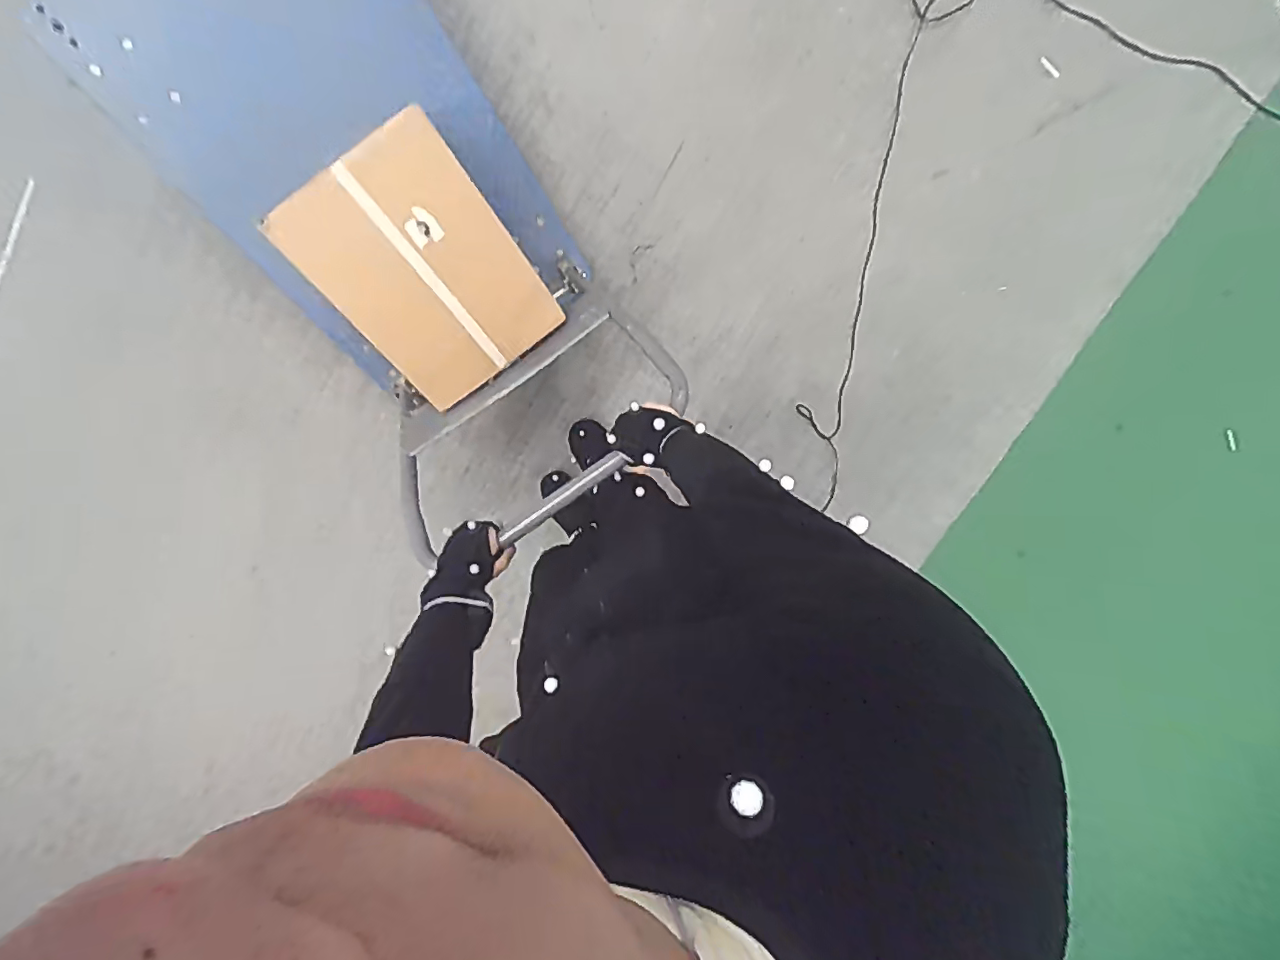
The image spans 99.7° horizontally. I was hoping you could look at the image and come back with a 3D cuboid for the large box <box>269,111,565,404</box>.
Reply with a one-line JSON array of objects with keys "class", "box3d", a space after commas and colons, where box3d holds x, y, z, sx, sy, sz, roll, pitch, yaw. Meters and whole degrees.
[{"class": "large box", "box3d": [-0.409, -0.435, 1.081, 0.320, 0.320, 0.408, -35, 125, 2]}]
